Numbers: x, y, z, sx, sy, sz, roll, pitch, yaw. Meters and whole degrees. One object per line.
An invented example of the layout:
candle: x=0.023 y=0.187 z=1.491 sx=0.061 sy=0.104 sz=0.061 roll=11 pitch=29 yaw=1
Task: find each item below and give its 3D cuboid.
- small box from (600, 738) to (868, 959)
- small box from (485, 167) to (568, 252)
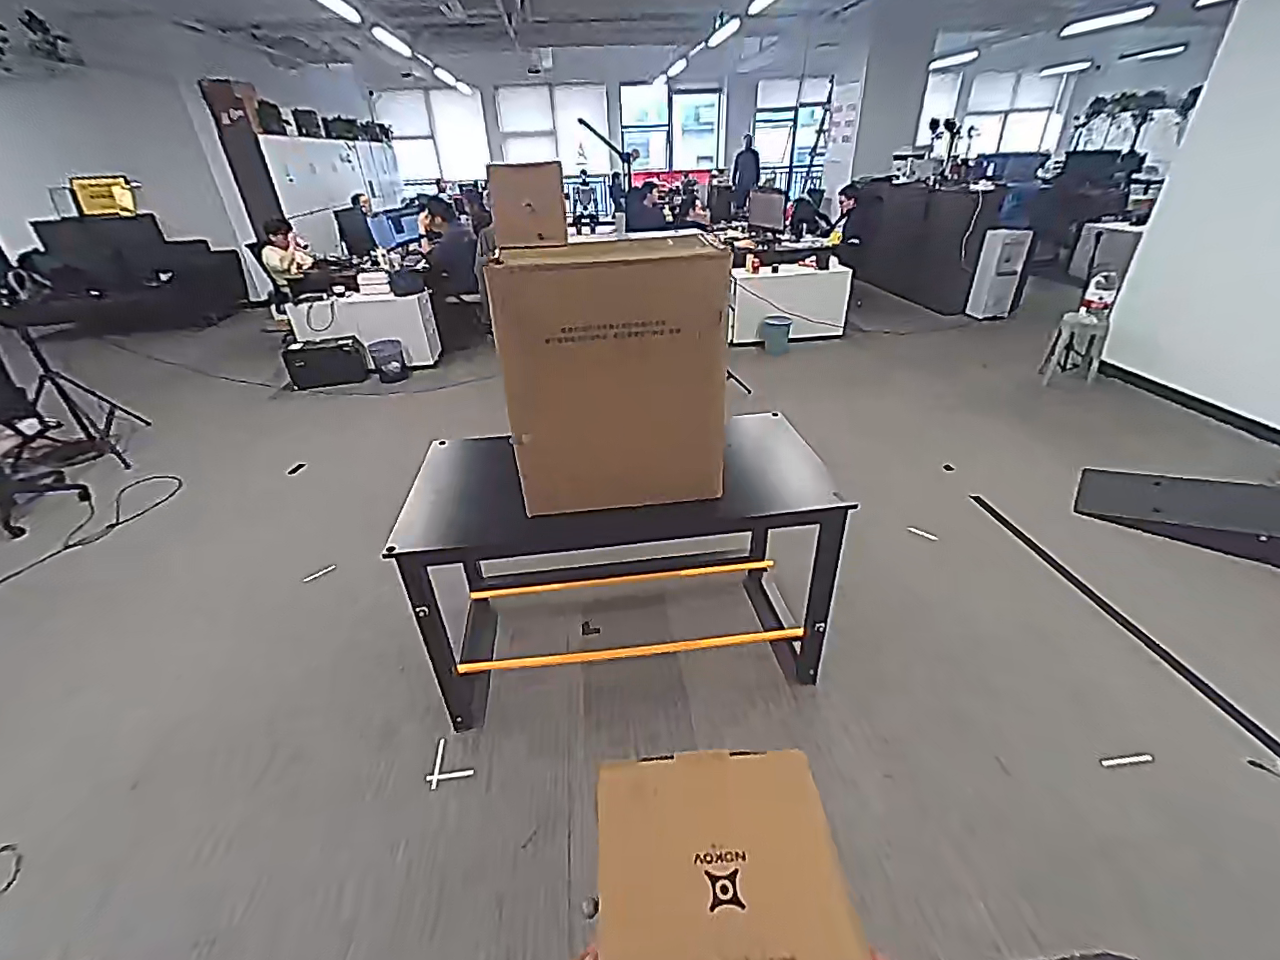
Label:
small box: x=0.053 y=0.328 z=0.414 sx=0.168 sy=0.176 sz=0.179 roll=-2 pitch=34 yaw=-3
small box: x=-0.261 y=-0.638 z=1.279 sx=0.168 sy=0.176 sz=0.179 roll=-5 pitch=30 yaw=-5
